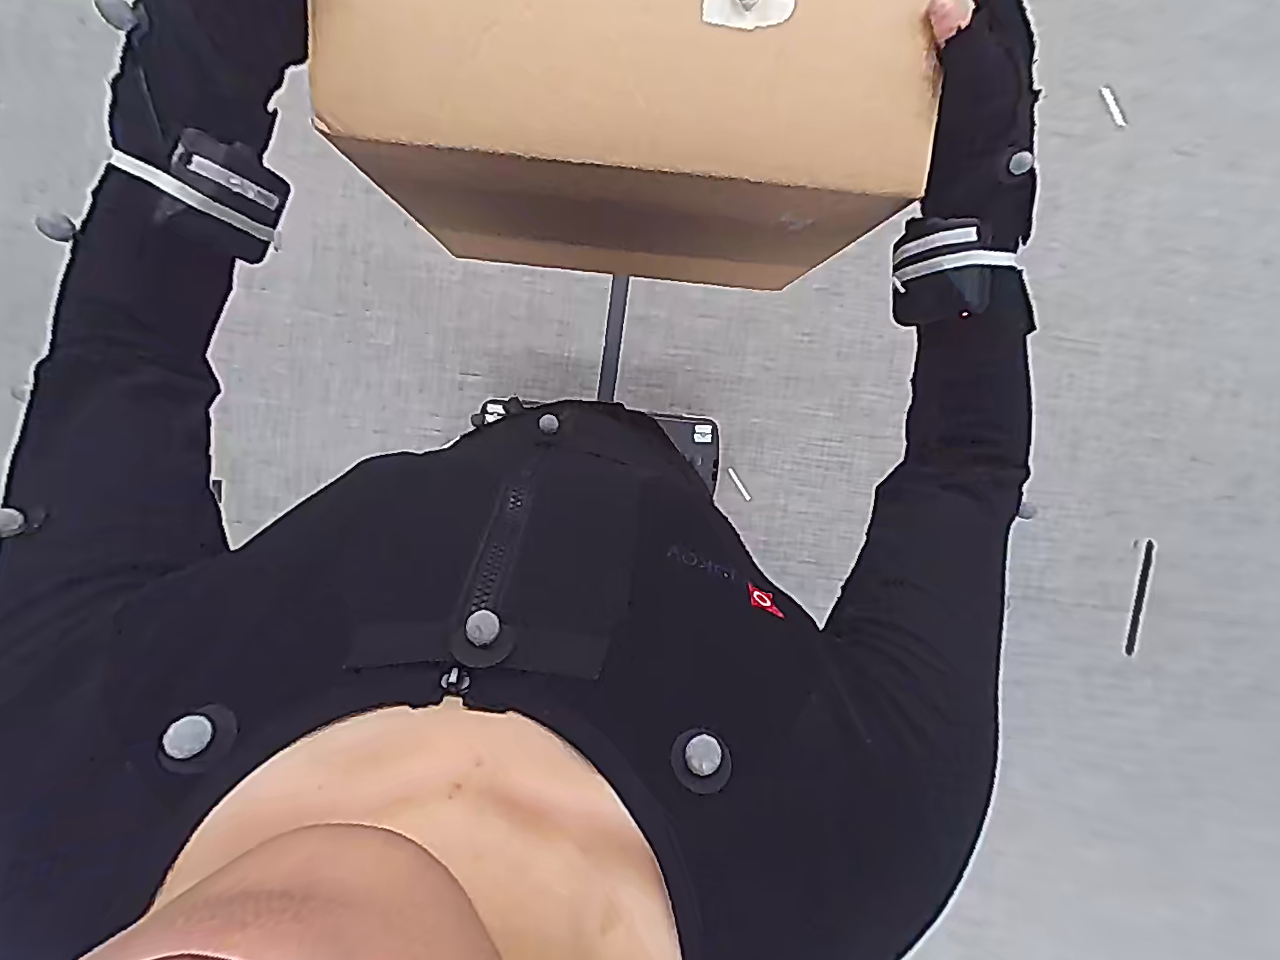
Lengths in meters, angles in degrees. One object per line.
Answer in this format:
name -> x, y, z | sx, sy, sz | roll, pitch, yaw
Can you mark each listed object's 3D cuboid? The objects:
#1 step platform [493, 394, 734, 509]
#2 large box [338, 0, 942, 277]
step platform -> -0.074, -0.082, 1.567 | 0.684, 0.204, 0.286 | 4, 96, -4
large box -> -0.001, -0.390, 0.494 | 0.408, 0.320, 0.320 | 4, 99, -4
